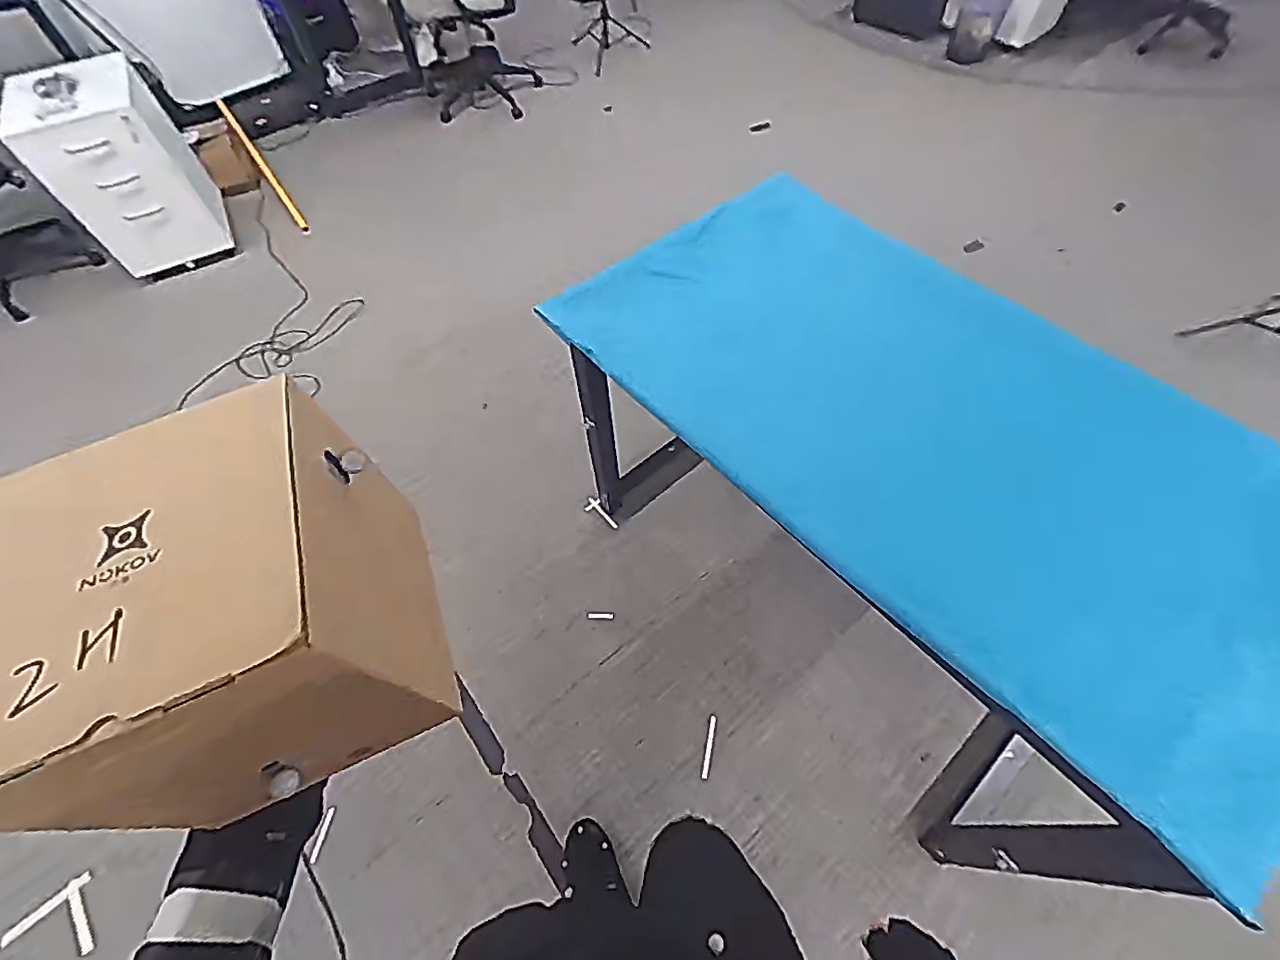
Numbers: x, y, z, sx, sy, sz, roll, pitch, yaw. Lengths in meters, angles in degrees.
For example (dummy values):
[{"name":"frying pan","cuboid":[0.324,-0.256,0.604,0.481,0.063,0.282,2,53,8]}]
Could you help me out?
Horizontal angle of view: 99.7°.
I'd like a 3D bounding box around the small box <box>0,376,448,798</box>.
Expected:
[{"name":"small box","cuboid":[-0.238,0.074,0.329,0.168,0.176,0.179,-21,60,-4]}]
